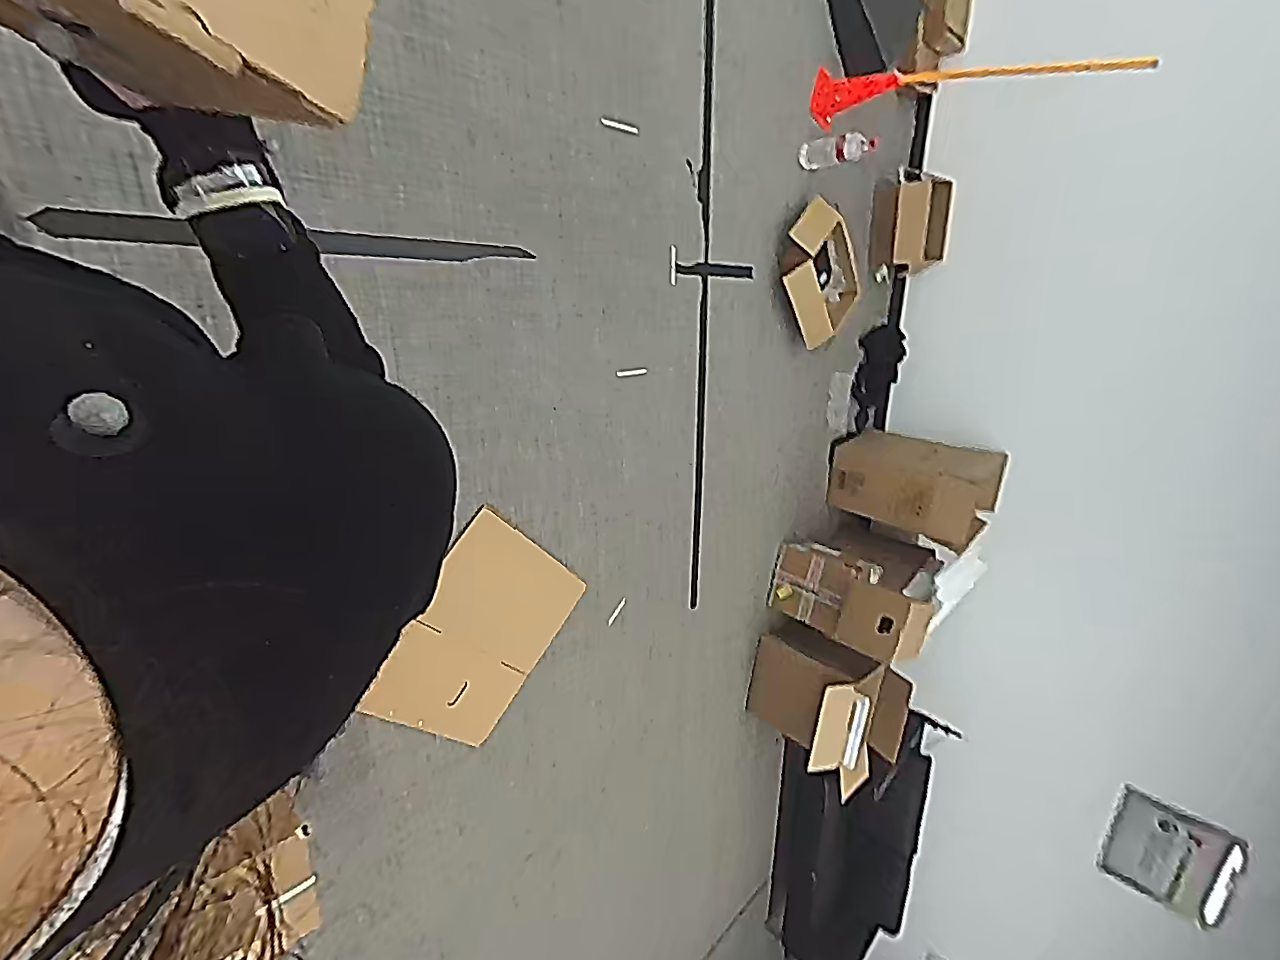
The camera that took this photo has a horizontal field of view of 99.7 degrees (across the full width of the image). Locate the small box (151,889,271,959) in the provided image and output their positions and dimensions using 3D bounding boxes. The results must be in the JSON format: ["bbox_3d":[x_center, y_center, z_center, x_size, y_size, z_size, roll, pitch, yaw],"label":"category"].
[{"bbox_3d":[-0.859,0.978,1.089,0.168,0.176,0.179,-10,110,-44],"label":"small box"}]

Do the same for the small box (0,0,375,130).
[{"bbox_3d":[-0.238,-0.296,0.236,0.168,0.176,0.179,-13,121,-70],"label":"small box"}]
